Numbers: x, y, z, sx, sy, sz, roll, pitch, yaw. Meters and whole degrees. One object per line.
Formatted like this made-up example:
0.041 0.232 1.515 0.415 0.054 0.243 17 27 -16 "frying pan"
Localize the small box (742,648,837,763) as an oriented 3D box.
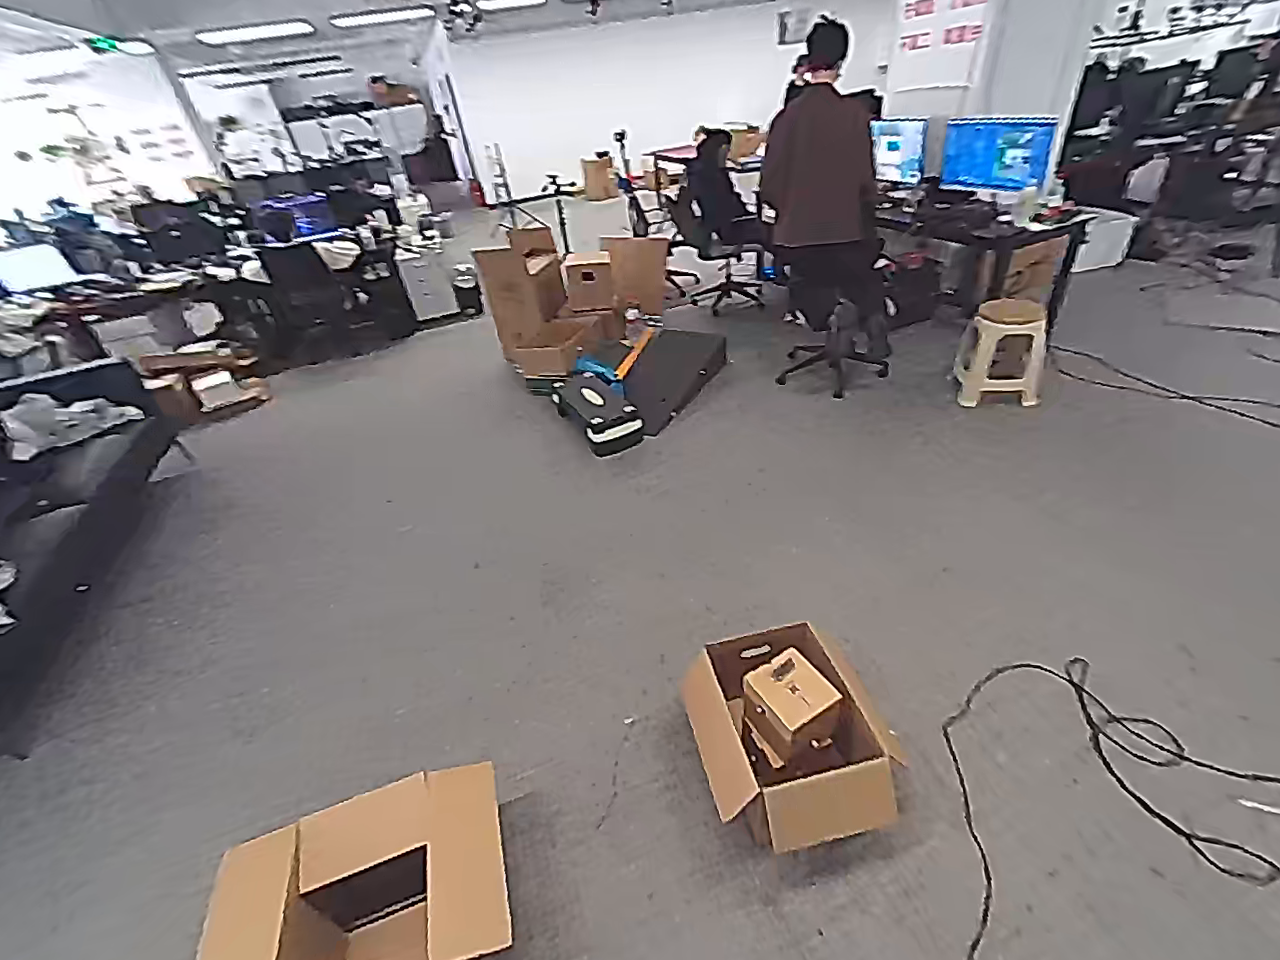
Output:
0.375 0.574 1.379 0.168 0.176 0.179 -22 37 -17 "small box"
